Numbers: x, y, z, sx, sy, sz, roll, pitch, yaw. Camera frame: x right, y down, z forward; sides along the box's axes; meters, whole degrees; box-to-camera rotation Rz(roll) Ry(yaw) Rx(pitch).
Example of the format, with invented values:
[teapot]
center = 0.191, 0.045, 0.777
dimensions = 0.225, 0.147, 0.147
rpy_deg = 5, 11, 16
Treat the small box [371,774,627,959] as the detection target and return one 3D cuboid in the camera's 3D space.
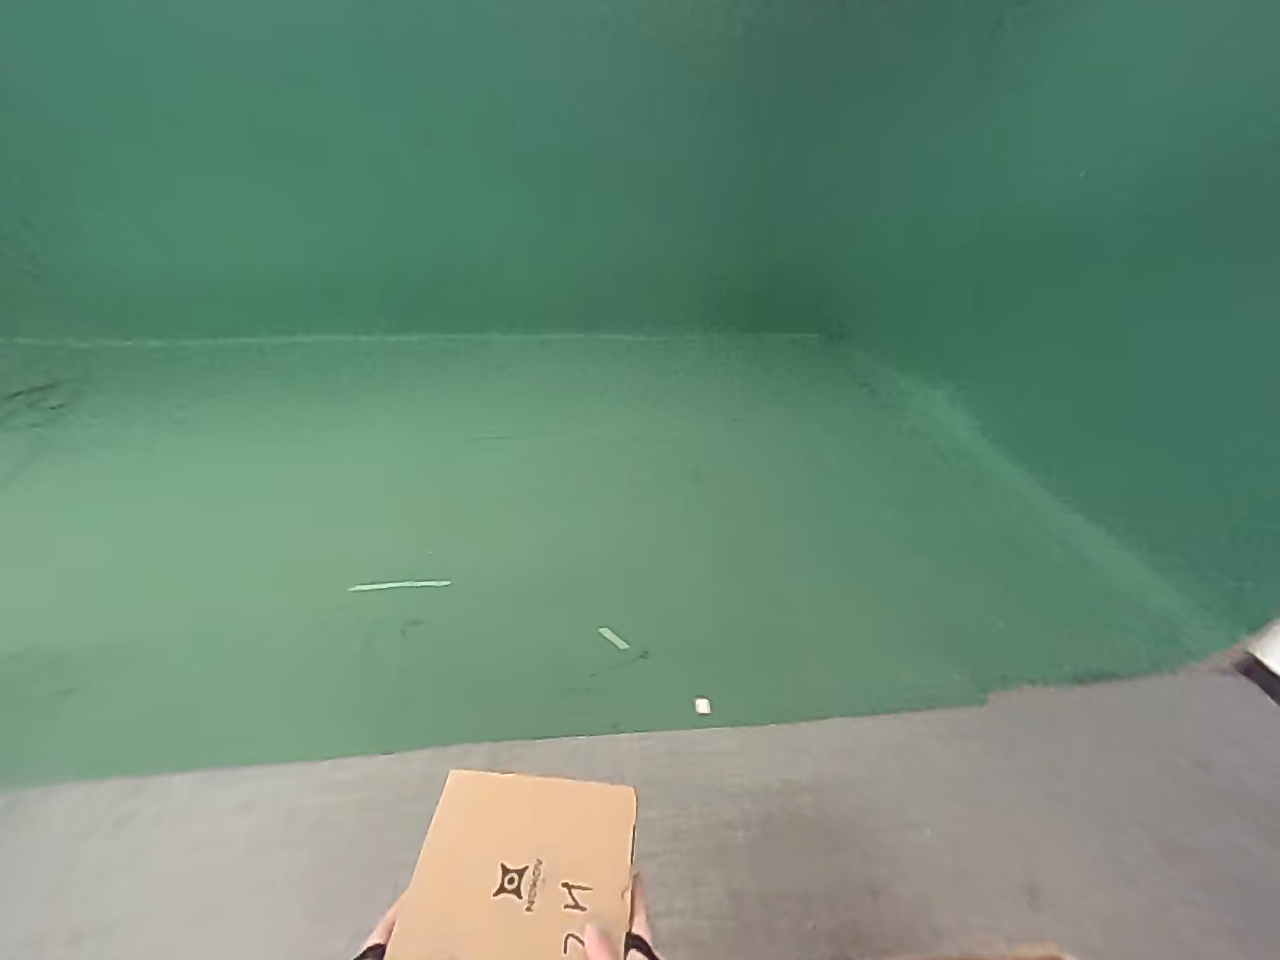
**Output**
[small box]
center = -0.106, 0.387, 0.472
dimensions = 0.179, 0.176, 0.168
rpy_deg = 4, 35, 1
